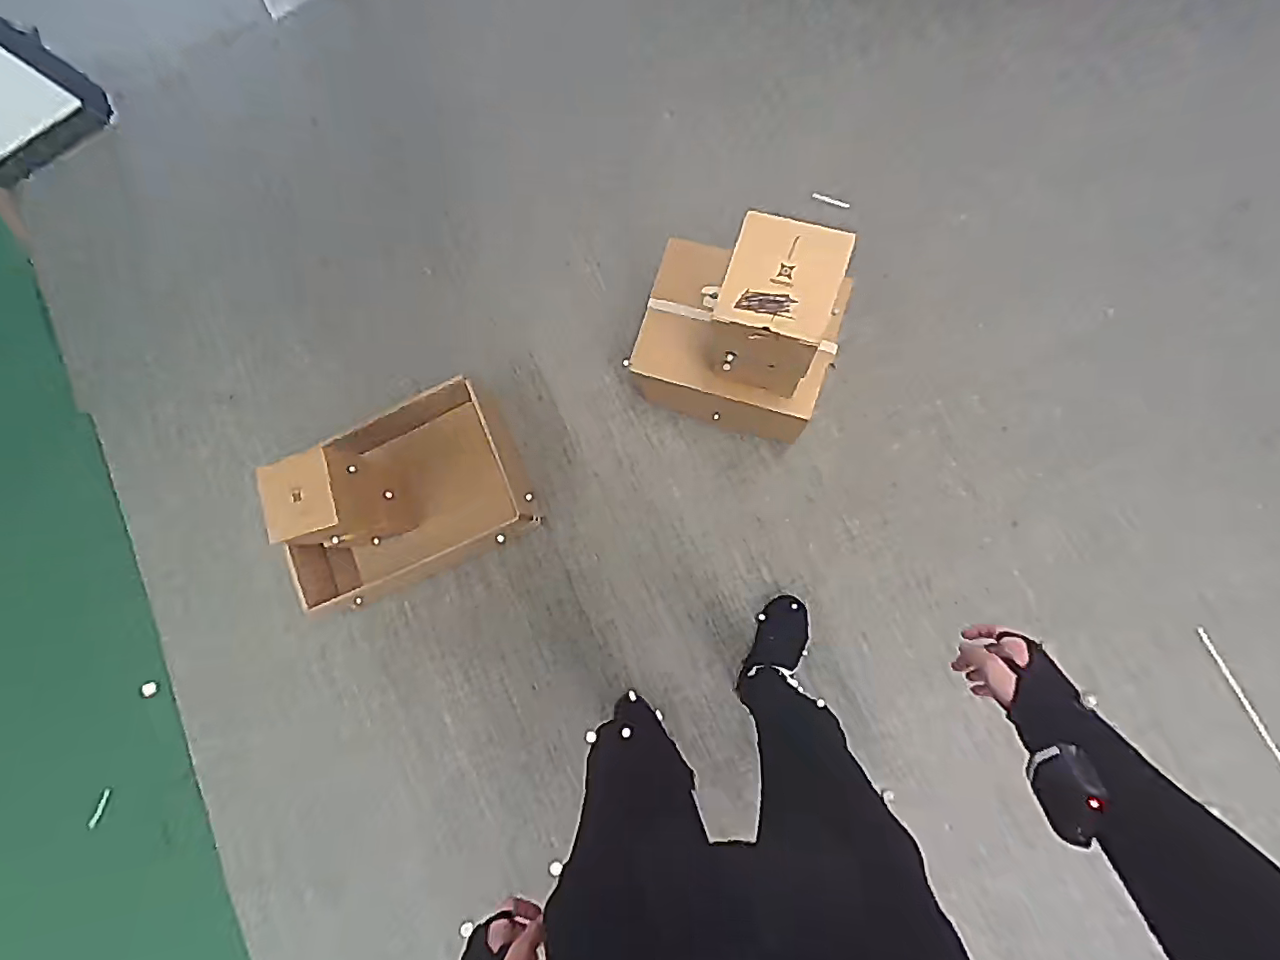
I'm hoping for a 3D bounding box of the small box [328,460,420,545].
[{"bbox_3d":[-0.709,0.065,1.420,0.168,0.176,0.179,-20,82,3],"label":"small box"}]

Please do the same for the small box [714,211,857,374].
[{"bbox_3d":[0.227,-0.290,0.871,0.168,0.176,0.179,19,87,11],"label":"small box"}]

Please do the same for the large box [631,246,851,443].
[{"bbox_3d":[0.237,-0.303,1.289,0.408,0.320,0.320,17,86,12],"label":"large box"}]

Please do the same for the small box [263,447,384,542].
[{"bbox_3d":[-0.729,0.041,1.260,0.168,0.176,0.179,-16,82,5],"label":"small box"}]
